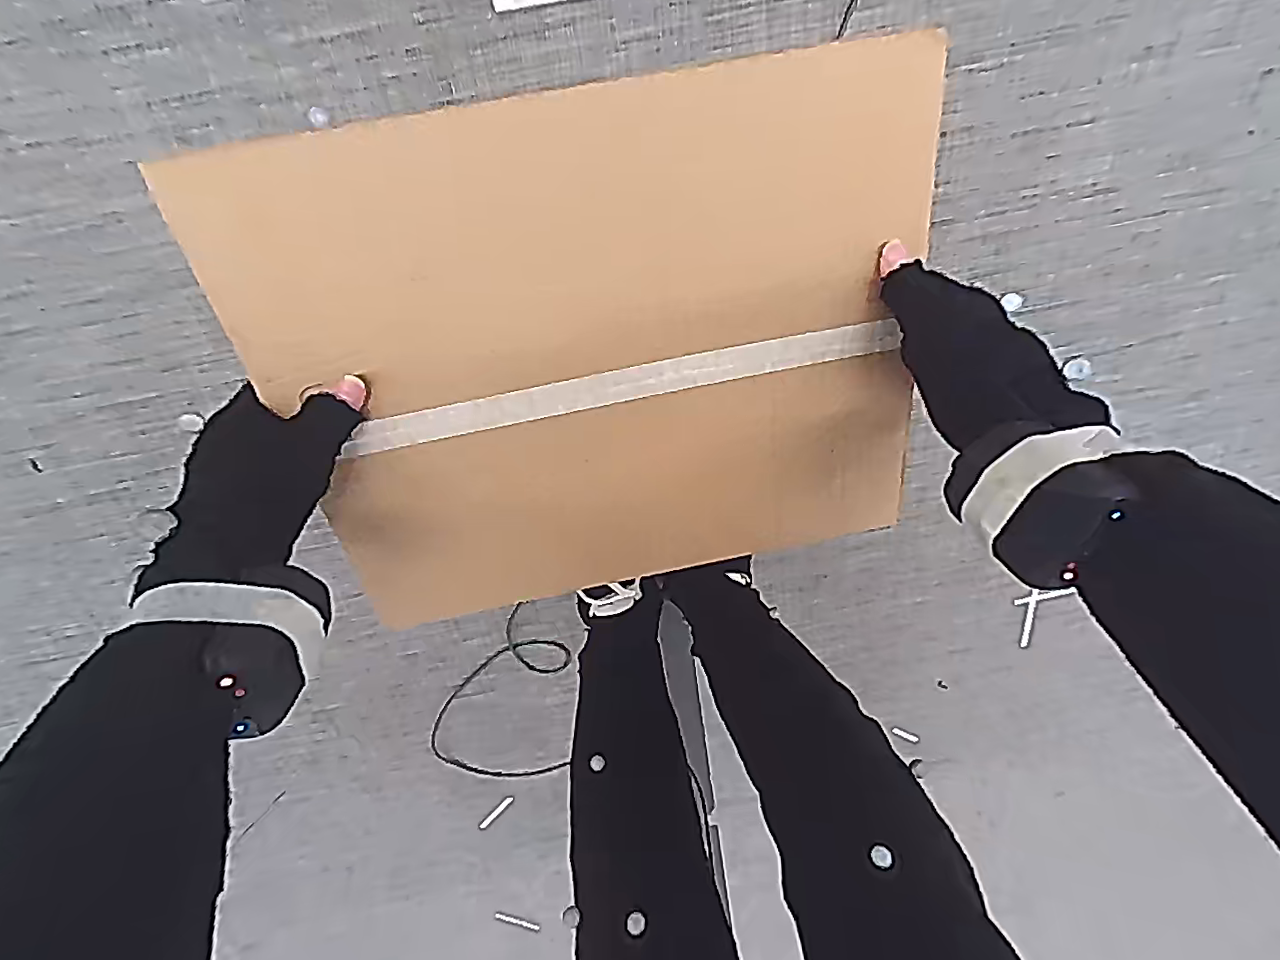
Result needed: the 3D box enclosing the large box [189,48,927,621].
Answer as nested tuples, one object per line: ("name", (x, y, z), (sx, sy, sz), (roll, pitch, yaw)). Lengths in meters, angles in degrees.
("large box", (-0.037, -0.129, 0.483), (0.408, 0.320, 0.320), (-11, 121, -3))
